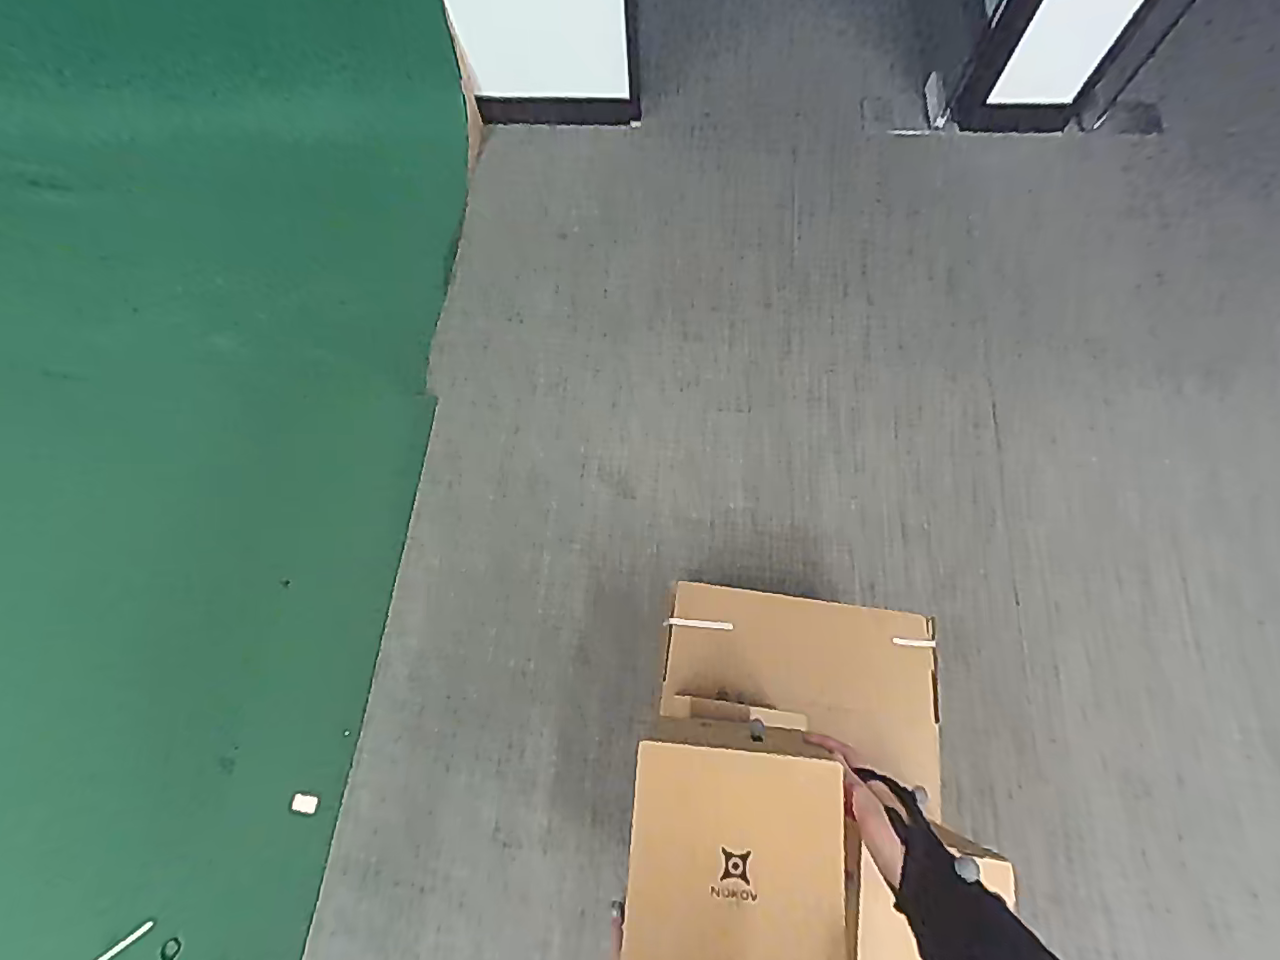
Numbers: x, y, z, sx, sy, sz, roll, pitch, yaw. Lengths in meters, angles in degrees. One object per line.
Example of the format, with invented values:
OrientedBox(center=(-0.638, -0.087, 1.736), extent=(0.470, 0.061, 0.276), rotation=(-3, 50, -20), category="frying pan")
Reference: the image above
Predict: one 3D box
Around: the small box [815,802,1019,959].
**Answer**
OrientedBox(center=(0.316, 0.507, 0.645), extent=(0.168, 0.176, 0.179), rotation=(9, 69, 6), category="small box")

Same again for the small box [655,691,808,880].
OrientedBox(center=(0.115, 0.380, 0.706), extent=(0.168, 0.176, 0.179), rotation=(7, 69, 5), category="small box")
